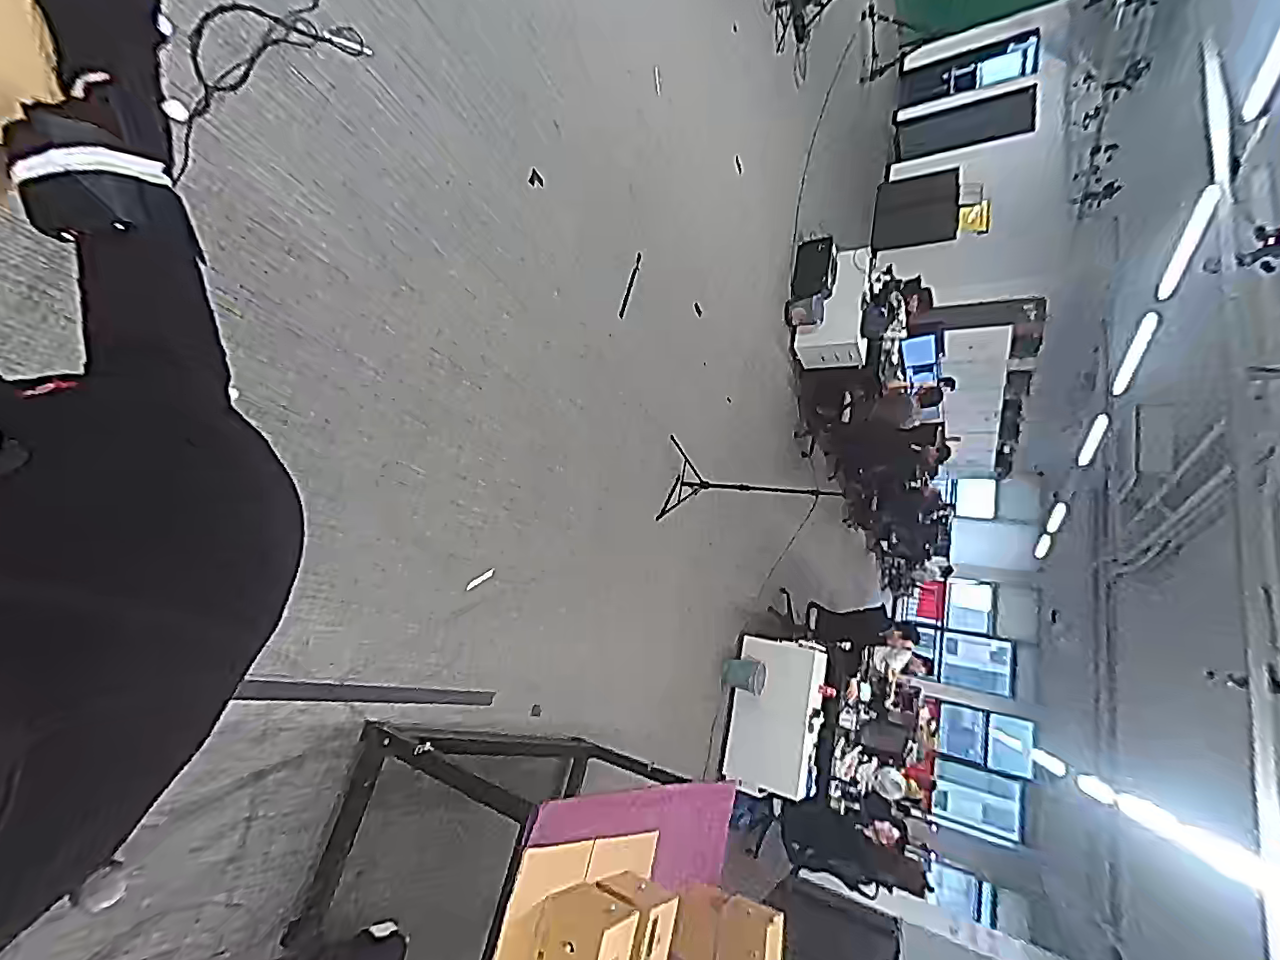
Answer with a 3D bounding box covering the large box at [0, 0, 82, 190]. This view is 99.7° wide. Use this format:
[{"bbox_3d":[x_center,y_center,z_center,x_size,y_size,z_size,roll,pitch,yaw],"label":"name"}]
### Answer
[{"bbox_3d":[-0.621,-0.357,0.258,0.408,0.320,0.320,-19,117,-55],"label":"large box"}]
